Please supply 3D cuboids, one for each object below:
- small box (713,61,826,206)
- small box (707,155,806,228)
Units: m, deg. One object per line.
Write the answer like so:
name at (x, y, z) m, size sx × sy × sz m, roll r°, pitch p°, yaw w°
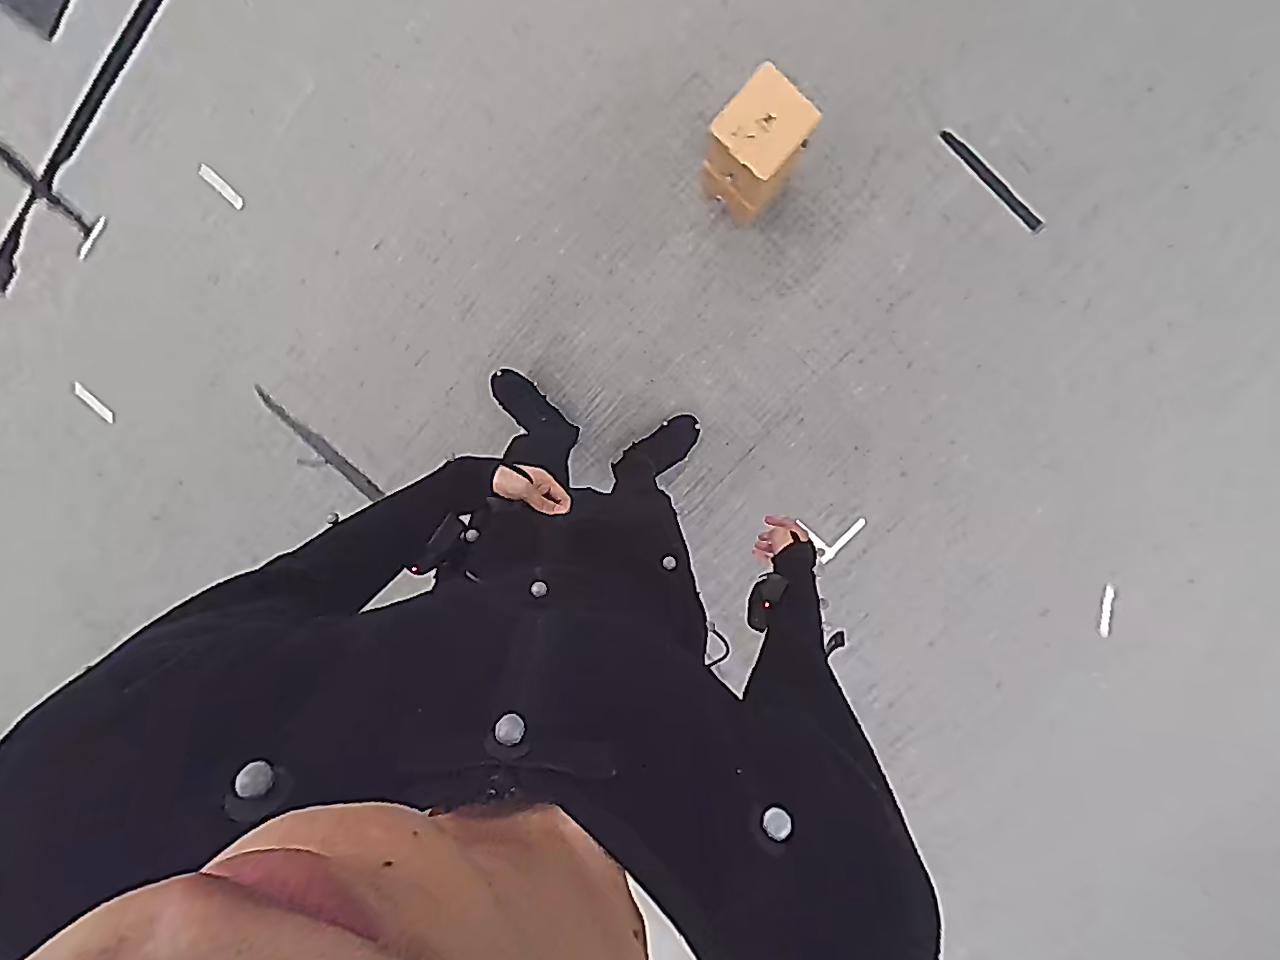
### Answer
small box at (0.275, -0.754, 1.199) m, size 0.168 × 0.176 × 0.179 m, roll 44°, pitch 101°, yaw -2°
small box at (0.282, -0.776, 1.361) m, size 0.168 × 0.176 × 0.179 m, roll 44°, pitch 100°, yaw -3°
